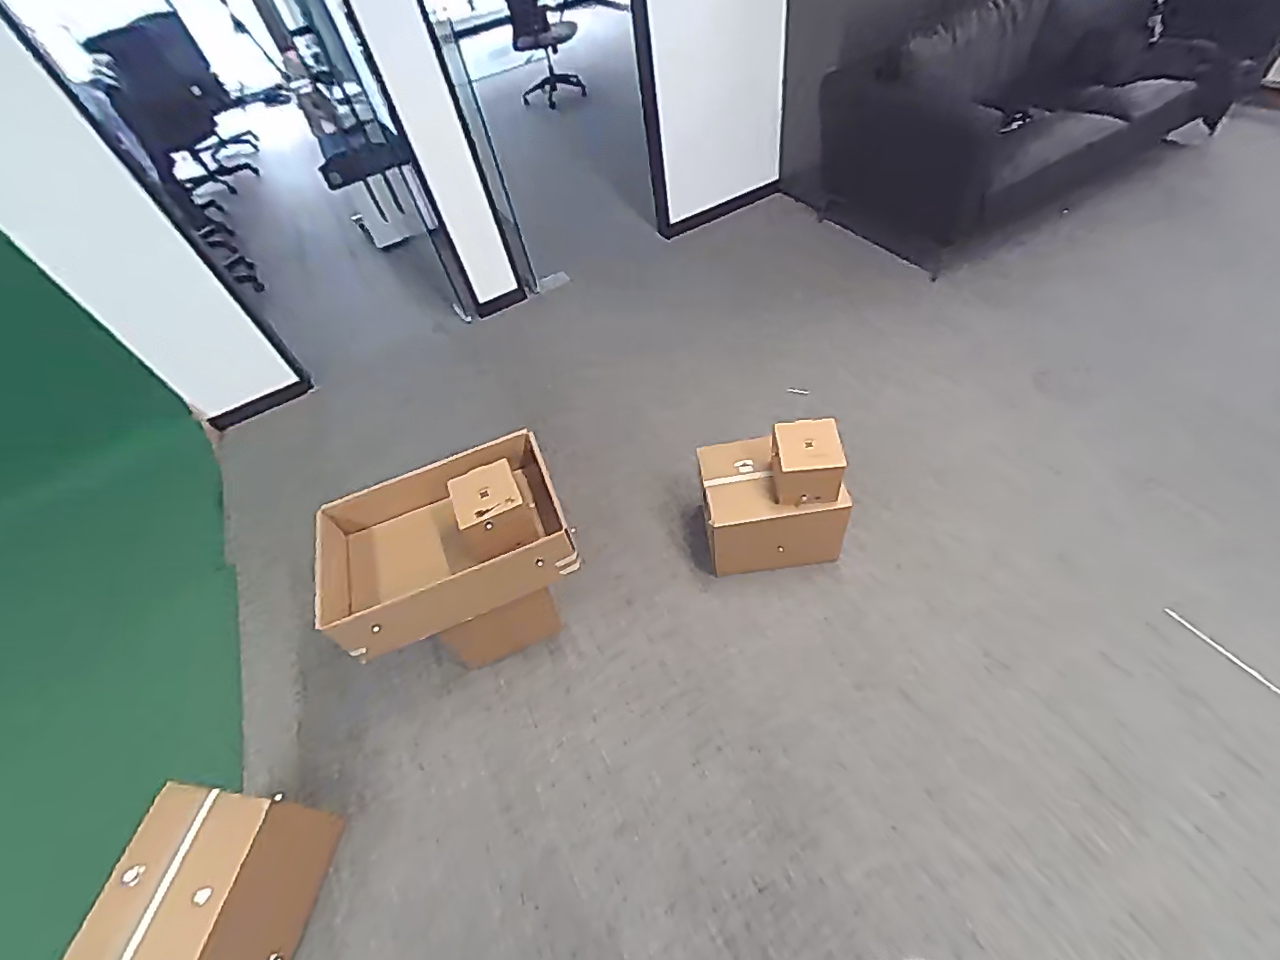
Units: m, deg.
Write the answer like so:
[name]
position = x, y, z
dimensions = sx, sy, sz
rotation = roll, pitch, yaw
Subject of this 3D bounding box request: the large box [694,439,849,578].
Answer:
[large box]
position = 0.407, 0.087, 1.746
dimensions = 0.408, 0.320, 0.320
rotation = -10, 50, 3

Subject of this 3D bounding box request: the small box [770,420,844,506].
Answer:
[small box]
position = 0.463, -0.047, 1.526
dimensions = 0.168, 0.176, 0.179
rotation = -5, 53, 7
